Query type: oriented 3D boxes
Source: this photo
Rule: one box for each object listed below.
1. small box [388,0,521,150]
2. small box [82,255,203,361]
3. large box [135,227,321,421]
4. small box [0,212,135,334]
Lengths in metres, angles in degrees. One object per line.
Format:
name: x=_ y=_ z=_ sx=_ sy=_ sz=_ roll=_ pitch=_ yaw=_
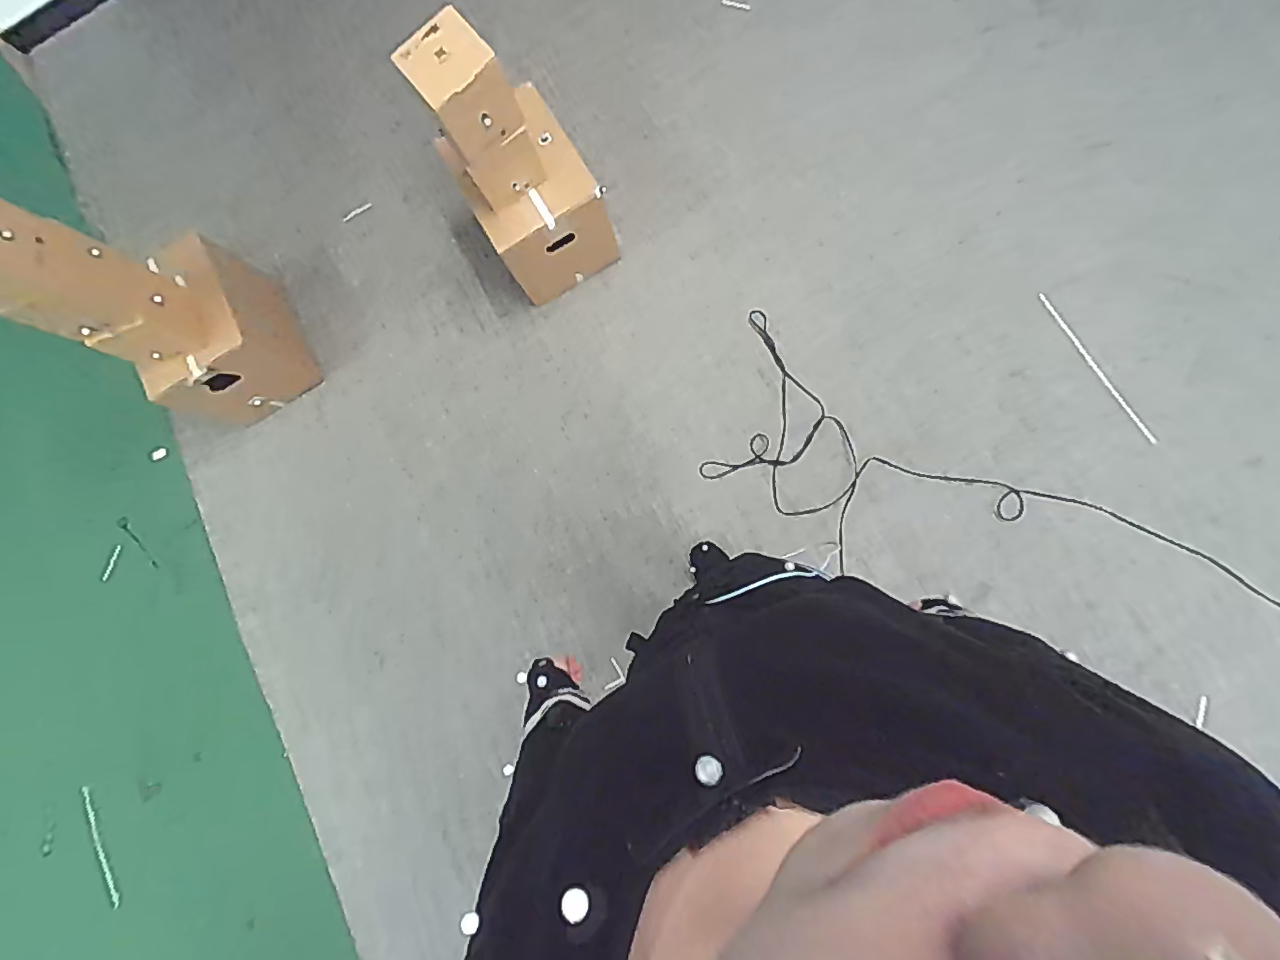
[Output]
small box: x=-0.383 y=-0.847 z=1.151 sx=0.168 sy=0.176 sz=0.179 roll=-39 pitch=80 yaw=3
small box: x=-1.275 y=-0.433 z=1.384 sx=0.168 sy=0.176 sz=0.179 roll=-19 pitch=81 yaw=5
large box: x=-1.261 y=-0.449 z=1.631 sx=0.320 sy=0.320 sz=0.408 roll=-30 pitch=79 yaw=3
small box: x=-1.306 y=-0.460 z=1.227 sx=0.168 sy=0.176 sz=0.179 roll=-16 pitch=82 yaw=7
